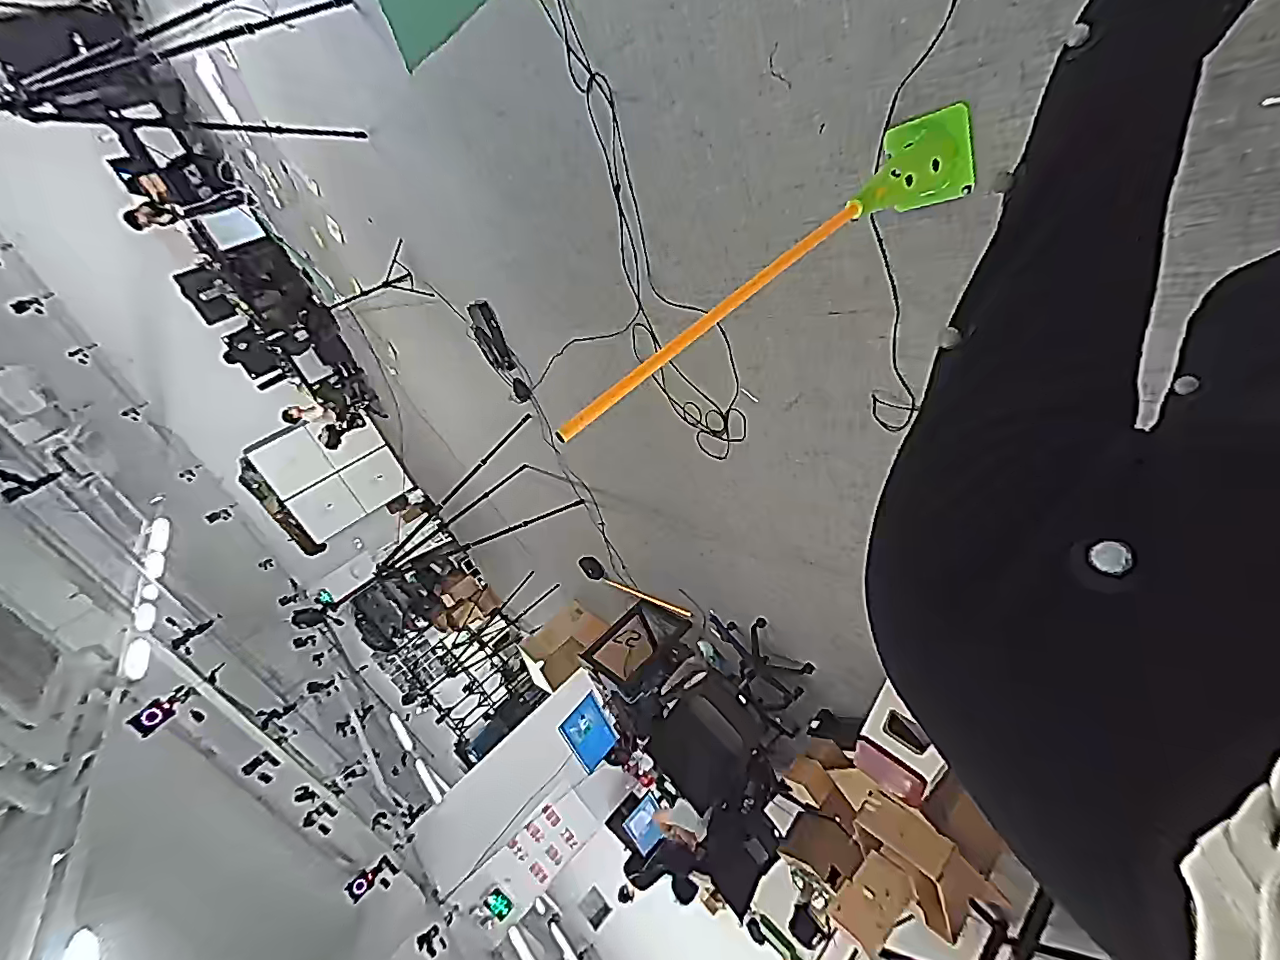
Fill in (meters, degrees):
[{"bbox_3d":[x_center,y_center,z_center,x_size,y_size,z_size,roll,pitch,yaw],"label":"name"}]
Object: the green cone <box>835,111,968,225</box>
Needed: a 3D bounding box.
[{"bbox_3d":[0.581,-0.689,1.273,0.202,0.368,0.200,14,135,53],"label":"green cone"}]
